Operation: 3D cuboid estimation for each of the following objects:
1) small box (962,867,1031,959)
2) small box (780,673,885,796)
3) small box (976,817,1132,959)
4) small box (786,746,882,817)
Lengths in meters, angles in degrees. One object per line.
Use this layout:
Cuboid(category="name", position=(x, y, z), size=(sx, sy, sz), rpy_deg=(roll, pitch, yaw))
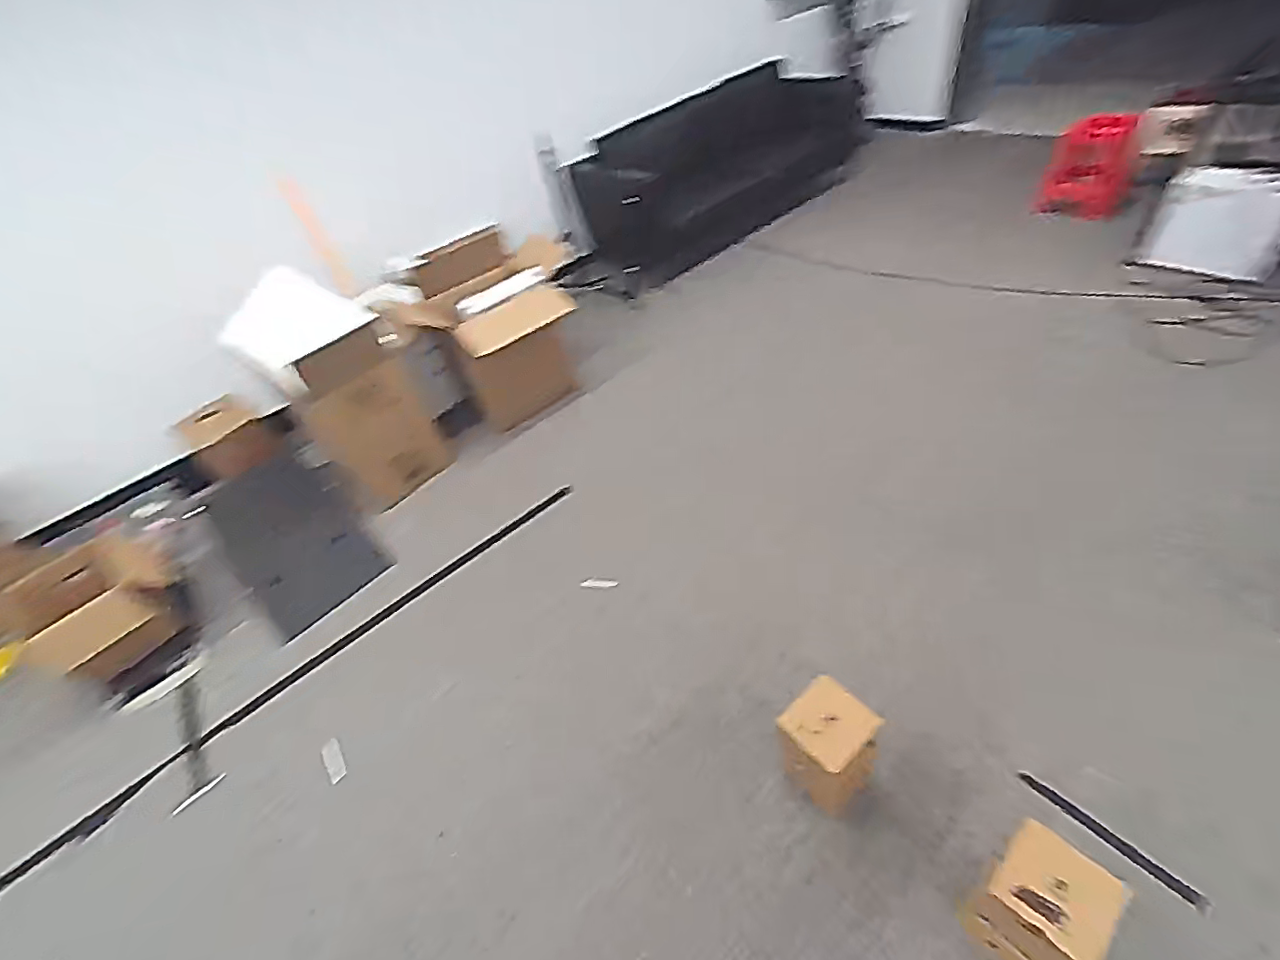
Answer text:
Cuboid(category="small box", position=(0.798, 0.919, 1.122), size=(0.179, 0.176, 0.168), rpy_deg=(-37, 47, -24))
Cuboid(category="small box", position=(0.455, 0.609, 1.296), size=(0.179, 0.176, 0.168), rpy_deg=(-34, 45, -19))
Cuboid(category="small box", position=(0.766, 0.793, 1.020), size=(0.179, 0.176, 0.168), rpy_deg=(-36, 47, -24))
Cuboid(category="small box", position=(0.493, 0.728, 1.404), size=(0.179, 0.176, 0.168), rpy_deg=(-34, 45, -20))
